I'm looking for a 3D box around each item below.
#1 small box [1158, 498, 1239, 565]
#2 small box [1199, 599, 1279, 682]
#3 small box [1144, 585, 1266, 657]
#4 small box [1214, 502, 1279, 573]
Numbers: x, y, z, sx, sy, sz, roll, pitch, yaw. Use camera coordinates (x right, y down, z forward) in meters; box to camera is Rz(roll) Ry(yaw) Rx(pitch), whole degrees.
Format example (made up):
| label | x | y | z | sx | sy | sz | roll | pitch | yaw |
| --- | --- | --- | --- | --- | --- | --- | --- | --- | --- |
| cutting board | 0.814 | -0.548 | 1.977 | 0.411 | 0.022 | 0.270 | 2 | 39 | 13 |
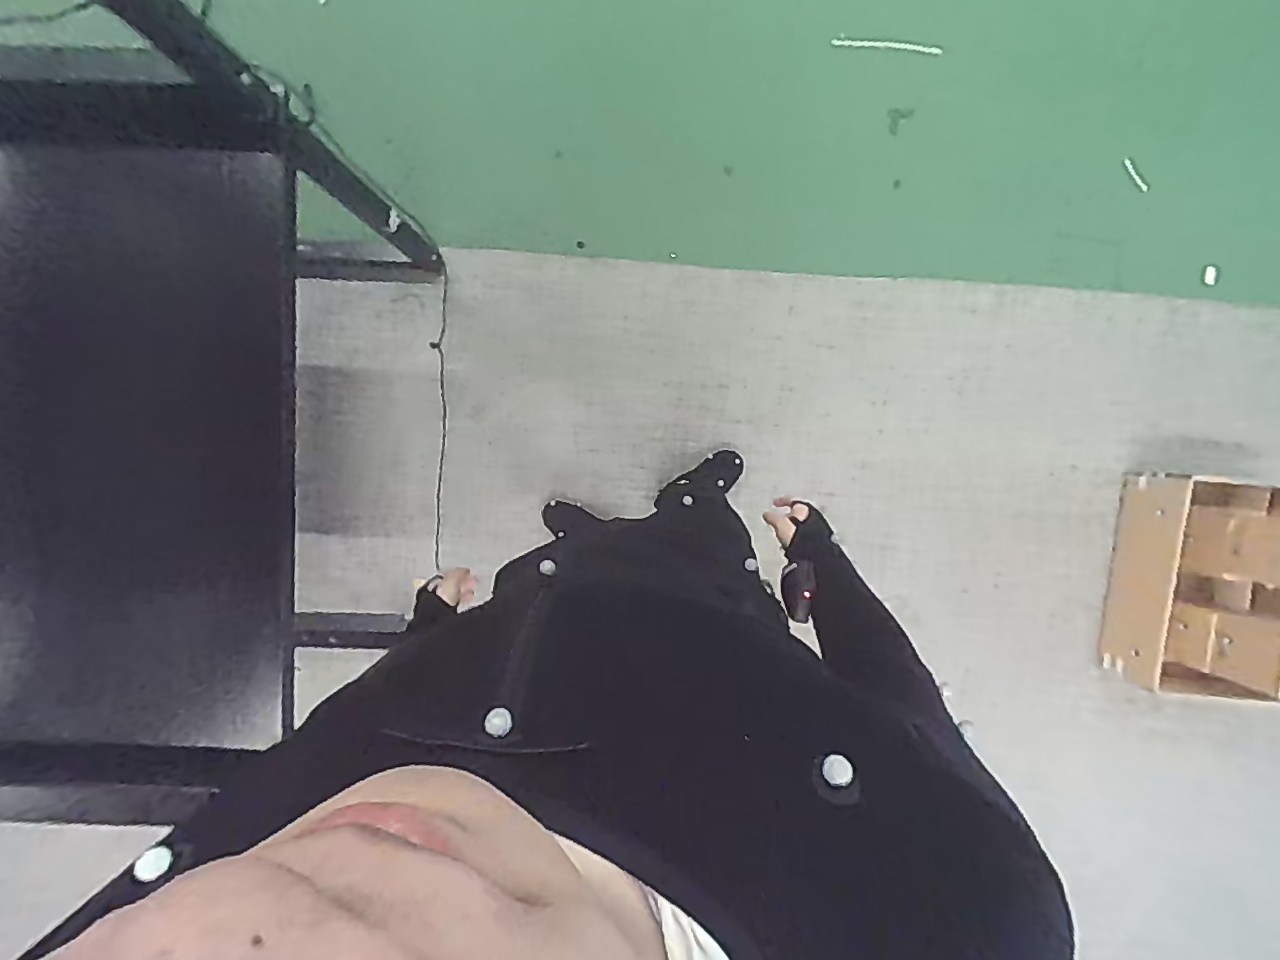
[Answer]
| label | x | y | z | sx | sy | sz | roll | pitch | yaw |
| --- | --- | --- | --- | --- | --- | --- | --- | --- | --- |
| small box | 1.638 | 0.144 | 1.536 | 0.179 | 0.176 | 0.168 | 3 | 96 | -1 |
| small box | 1.621 | 0.413 | 1.393 | 0.179 | 0.176 | 0.168 | 6 | 92 | -1 |
| small box | 1.616 | 0.405 | 1.556 | 0.179 | 0.176 | 0.168 | 4 | 94 | -1 |
| small box | 1.641 | 0.153 | 1.371 | 0.179 | 0.176 | 0.168 | 9 | 94 | -2 |
